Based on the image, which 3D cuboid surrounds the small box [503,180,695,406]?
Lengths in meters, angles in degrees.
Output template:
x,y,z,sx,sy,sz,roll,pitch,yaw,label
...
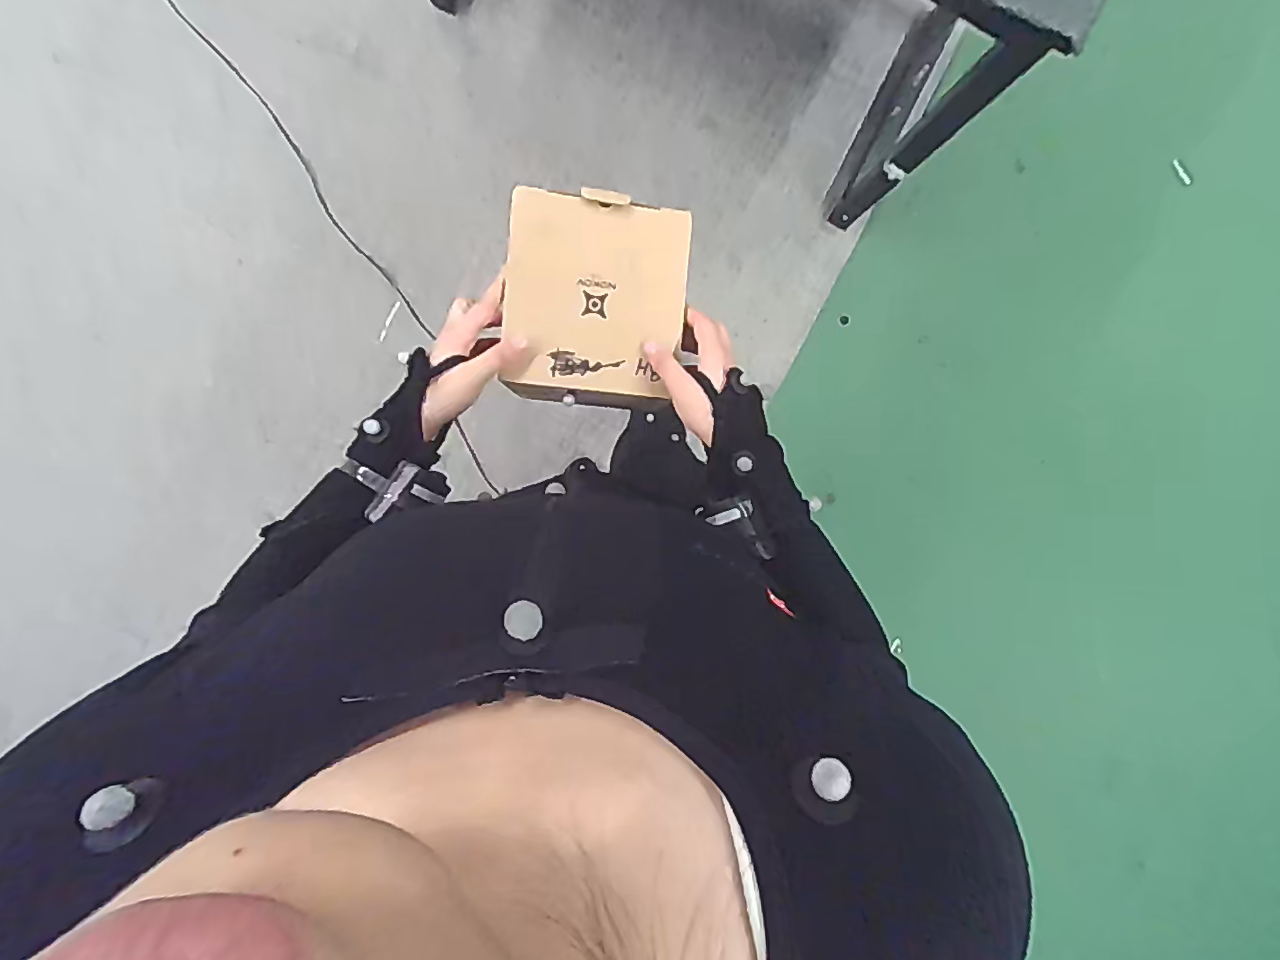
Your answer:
x,y,z,sx,sy,sz,roll,pitch,yaw,label
-0.047,-0.179,0.574,0.168,0.176,0.179,5,93,-7,small box
